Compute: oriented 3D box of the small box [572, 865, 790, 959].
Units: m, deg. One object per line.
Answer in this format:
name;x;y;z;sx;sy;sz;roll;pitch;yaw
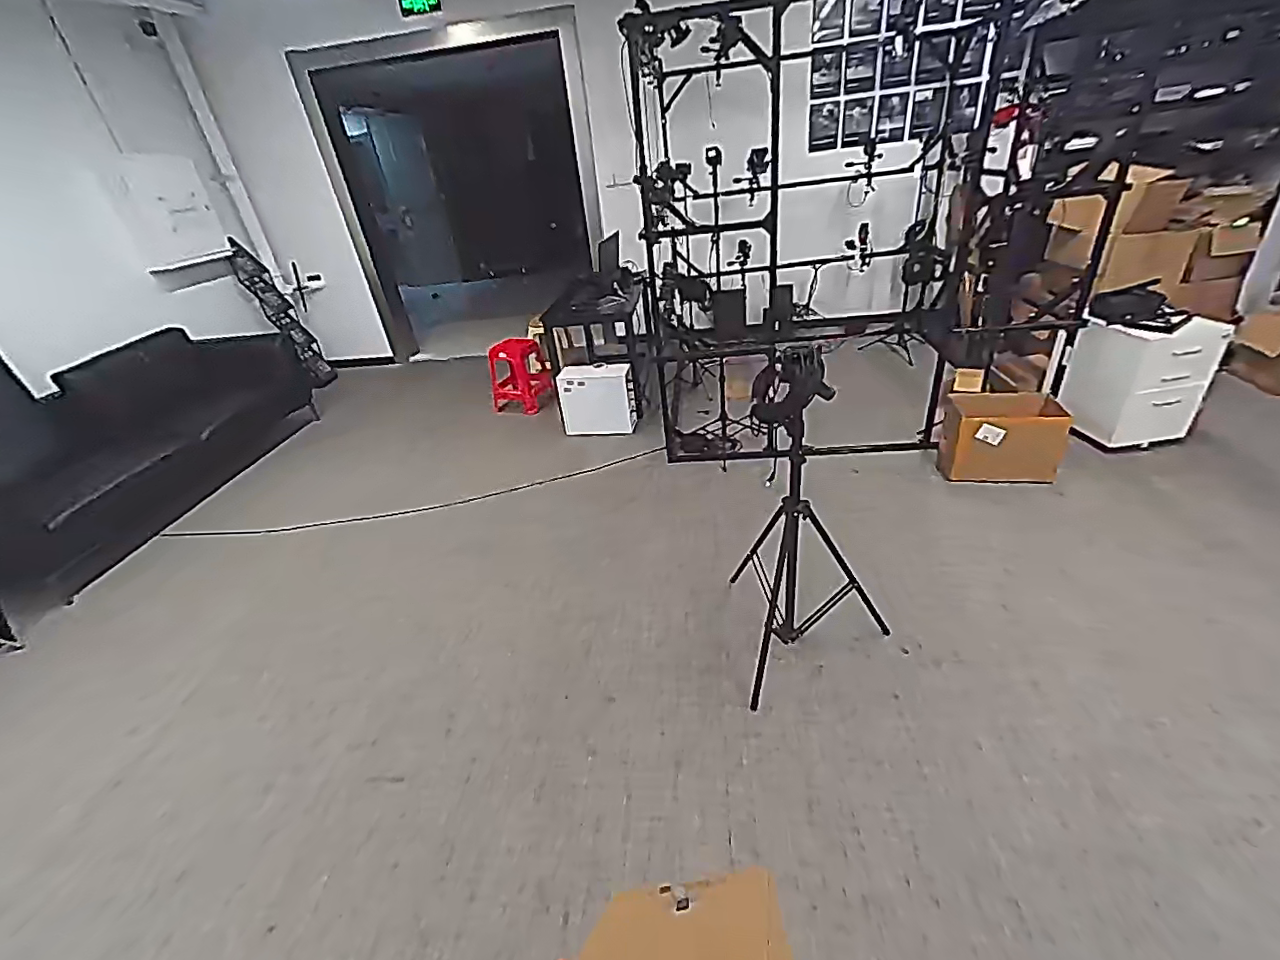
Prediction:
small box;0.049;0.462;0.447;0.168;0.176;0.179;-17;72;9
